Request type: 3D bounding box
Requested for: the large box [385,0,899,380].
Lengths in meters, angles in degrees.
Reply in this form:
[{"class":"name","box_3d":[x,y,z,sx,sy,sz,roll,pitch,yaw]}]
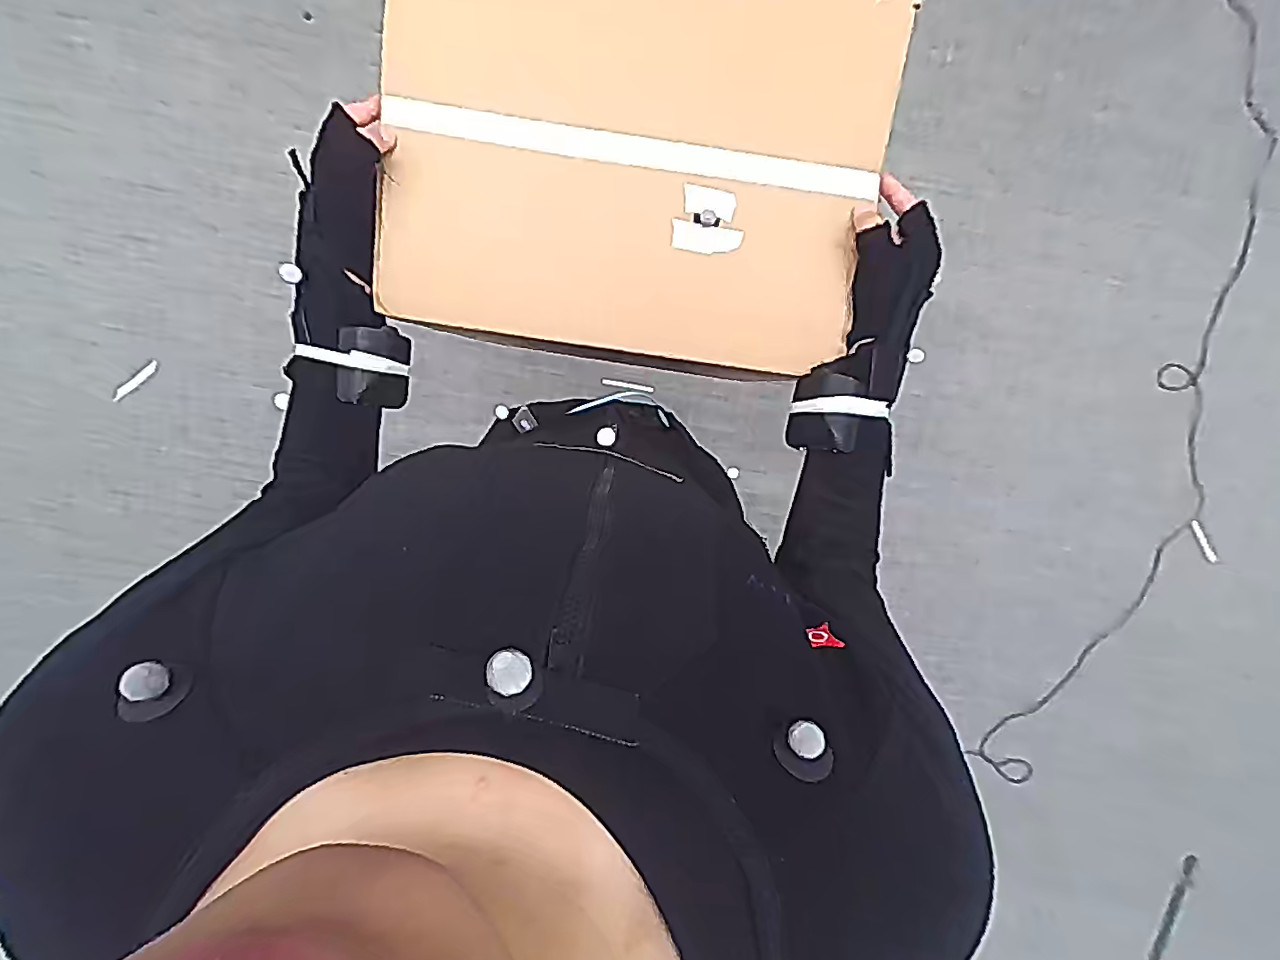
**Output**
[{"class":"large box","box_3d":[-0.012,-0.289,0.596,0.408,0.320,0.320,8,101,-4]}]
